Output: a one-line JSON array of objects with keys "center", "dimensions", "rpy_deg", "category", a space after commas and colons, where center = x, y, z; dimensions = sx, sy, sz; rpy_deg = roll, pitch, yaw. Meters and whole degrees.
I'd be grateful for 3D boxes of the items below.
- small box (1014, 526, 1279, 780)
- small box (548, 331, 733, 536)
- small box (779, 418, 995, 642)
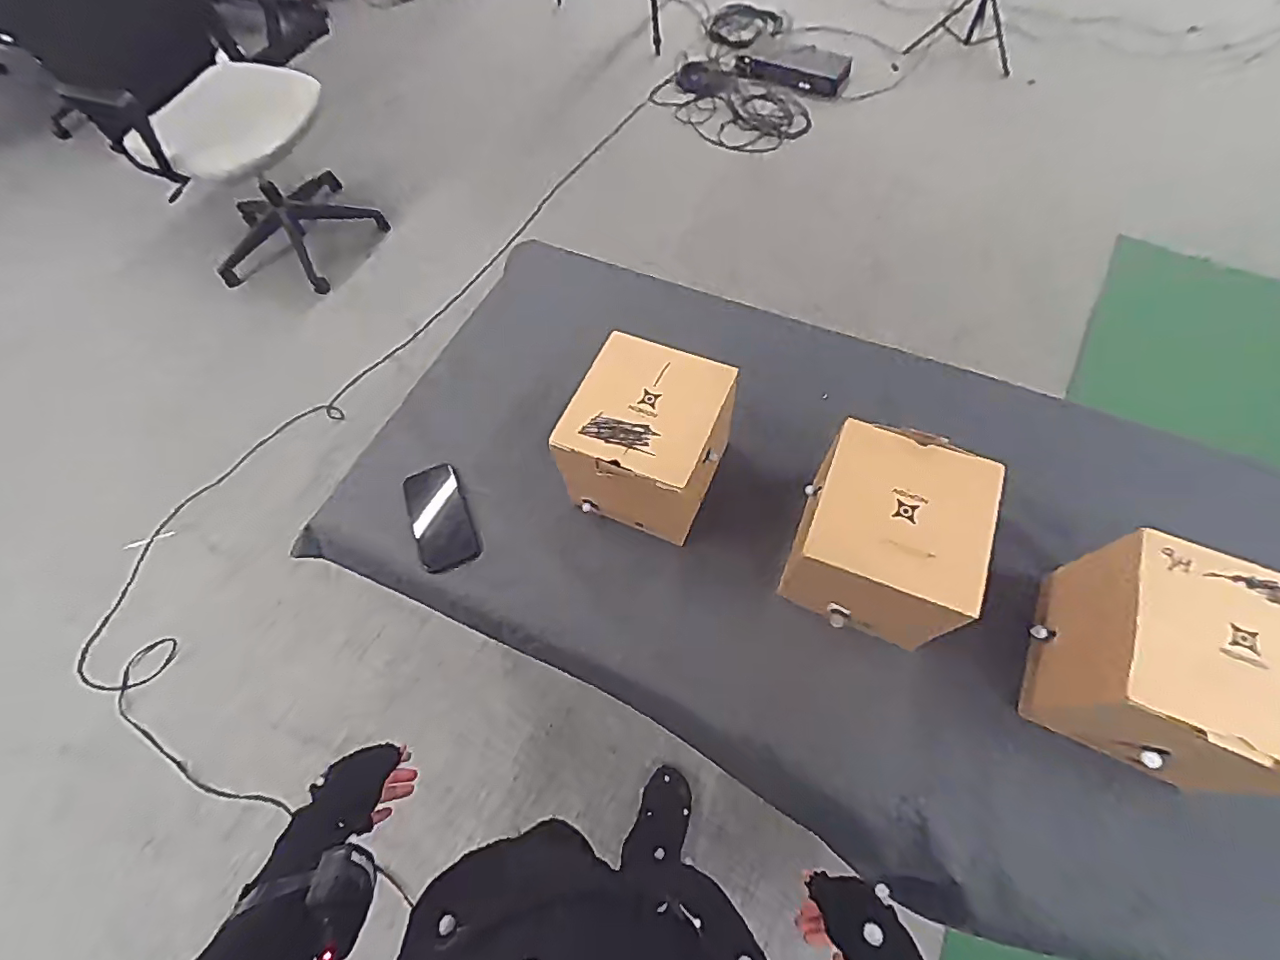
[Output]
[{"center": [0.518, 0.180, 0.547], "dimensions": [0.168, 0.176, 0.179], "rpy_deg": [23, 68, 14], "category": "small box"}, {"center": [0.009, -0.052, 0.694], "dimensions": [0.168, 0.176, 0.179], "rpy_deg": [21, 66, 13], "category": "small box"}, {"center": [0.271, 0.063, 0.624], "dimensions": [0.168, 0.176, 0.179], "rpy_deg": [20, 67, 14], "category": "small box"}]
